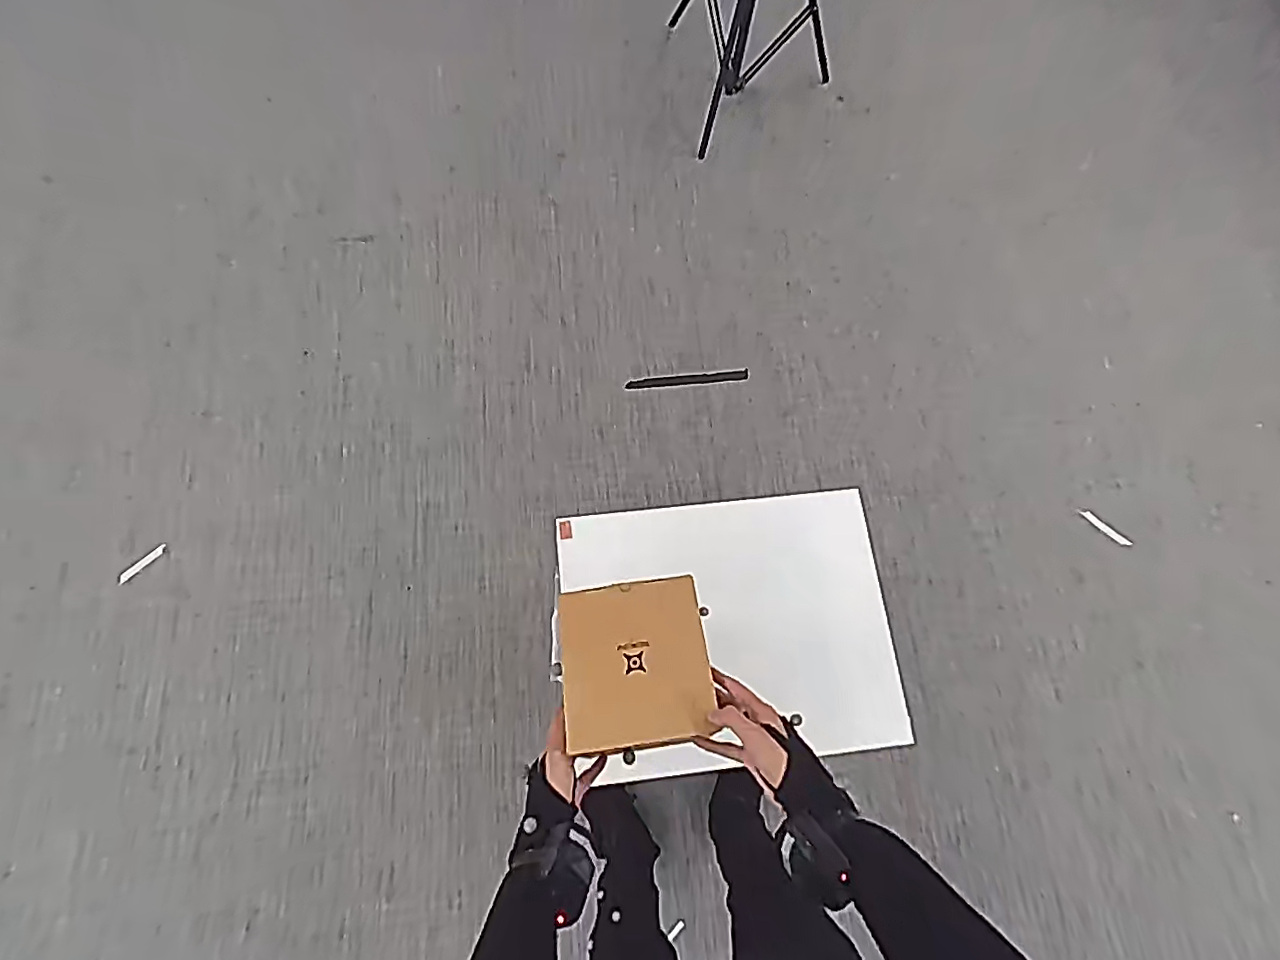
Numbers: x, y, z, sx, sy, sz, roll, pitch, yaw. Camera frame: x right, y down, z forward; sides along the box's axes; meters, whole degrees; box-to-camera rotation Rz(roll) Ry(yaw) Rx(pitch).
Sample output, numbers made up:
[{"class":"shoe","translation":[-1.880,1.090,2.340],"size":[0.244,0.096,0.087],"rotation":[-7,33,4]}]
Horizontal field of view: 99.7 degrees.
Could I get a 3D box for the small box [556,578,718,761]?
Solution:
[{"class":"small box","translation":[-0.004,0.241,0.669],"size":[0.168,0.176,0.179],"rotation":[-9,61,-2]}]
